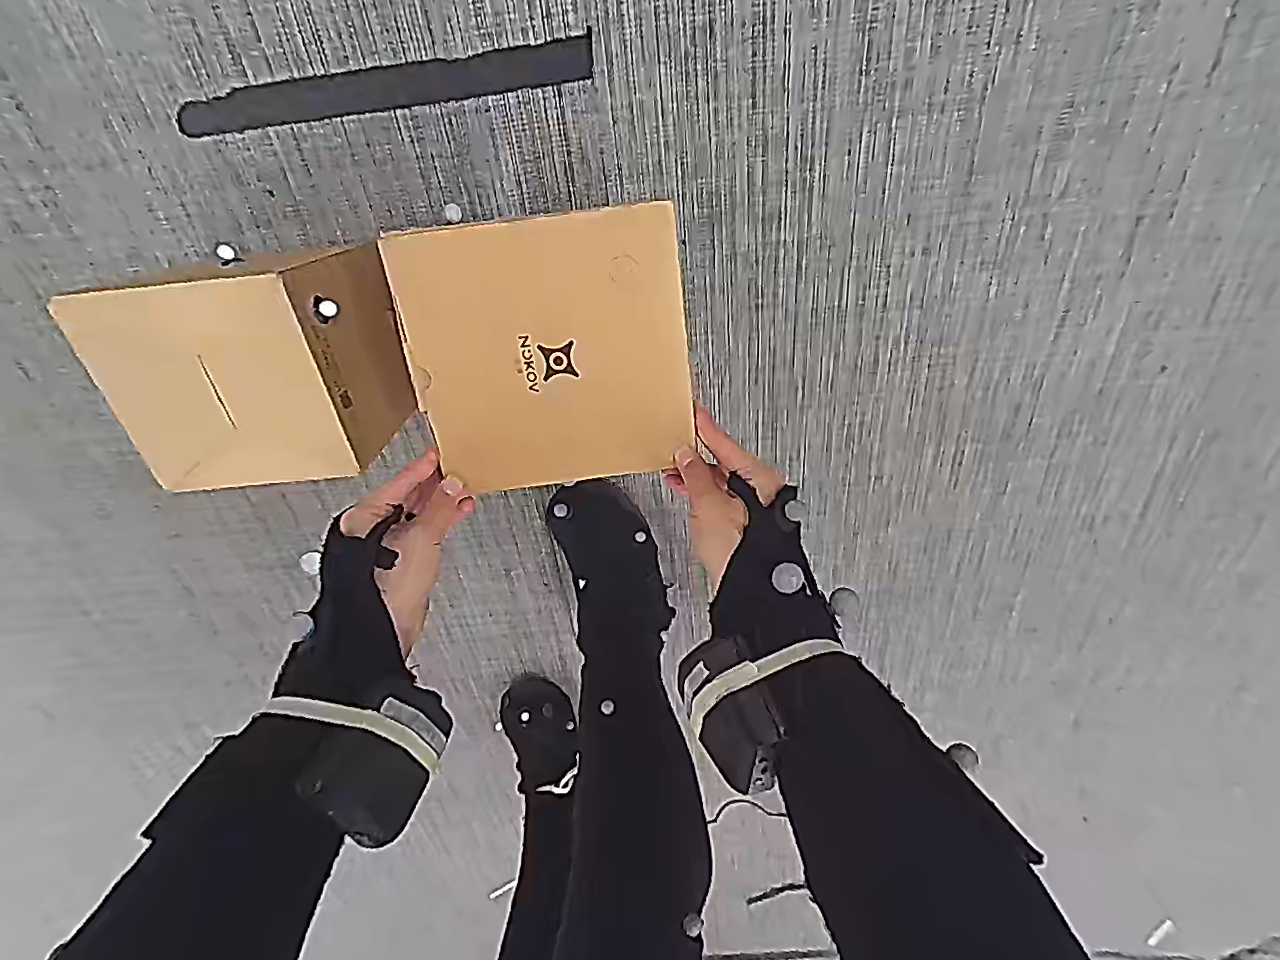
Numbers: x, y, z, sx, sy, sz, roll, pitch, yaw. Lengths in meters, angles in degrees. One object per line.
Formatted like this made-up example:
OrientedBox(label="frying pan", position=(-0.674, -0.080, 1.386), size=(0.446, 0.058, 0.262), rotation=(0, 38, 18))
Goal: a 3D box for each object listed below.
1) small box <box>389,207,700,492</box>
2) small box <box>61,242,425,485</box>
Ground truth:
OrientedBox(label="small box", position=(-0.057, -0.106, 0.419), size=(0.179, 0.176, 0.168), rotation=(-7, 112, 1))
OrientedBox(label="small box", position=(-0.328, -0.109, 0.491), size=(0.179, 0.176, 0.168), rotation=(-6, 120, 1))
